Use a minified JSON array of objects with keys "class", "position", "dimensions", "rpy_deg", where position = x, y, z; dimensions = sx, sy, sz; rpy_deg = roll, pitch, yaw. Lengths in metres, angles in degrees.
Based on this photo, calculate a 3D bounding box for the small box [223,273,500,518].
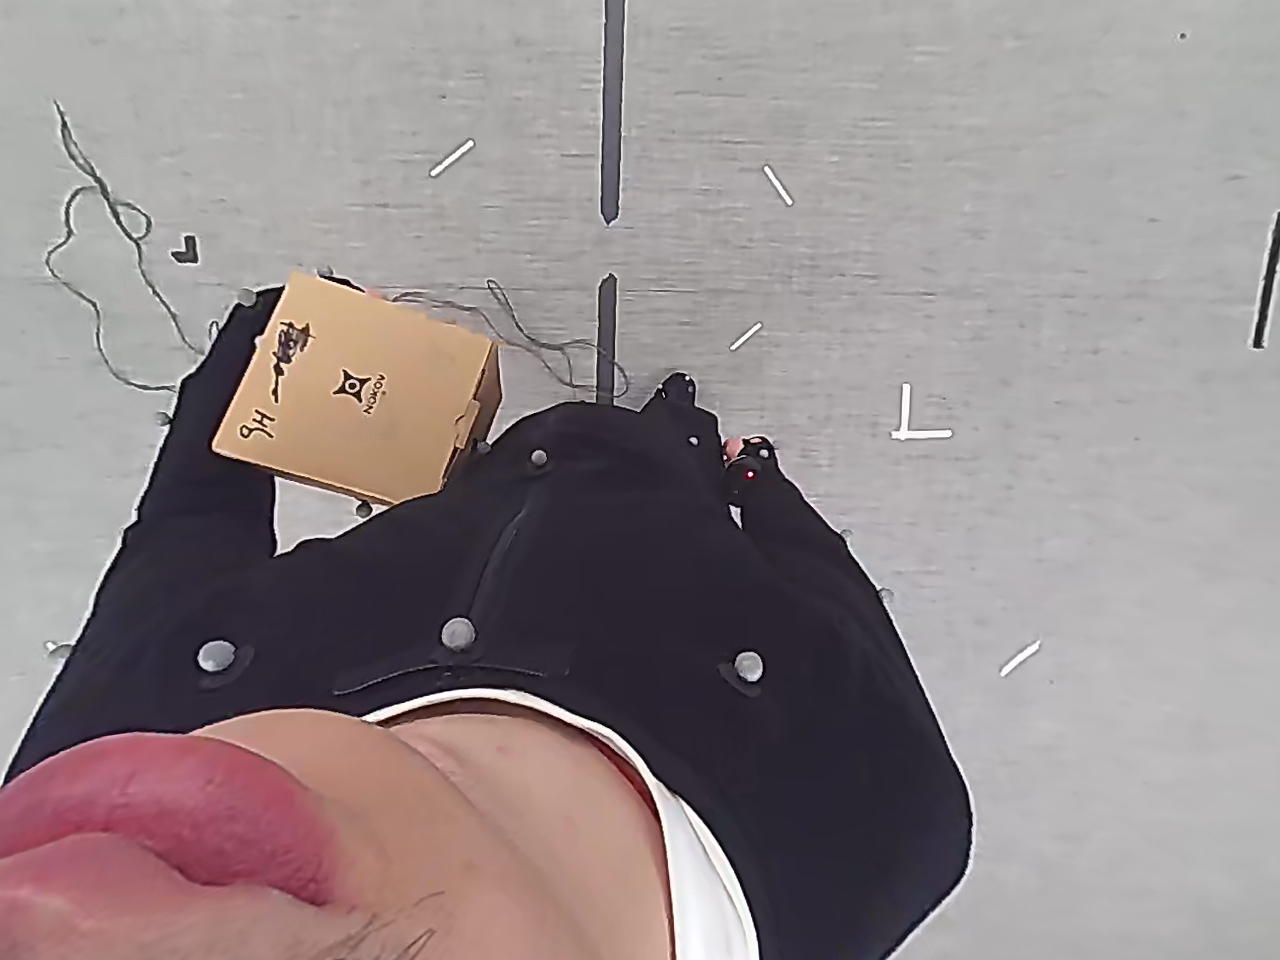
[{"class":"small box","position":[-0.247,-0.064,0.536],"dimensions":[0.179,0.176,0.168],"rpy_deg":[17,77,-10]}]
